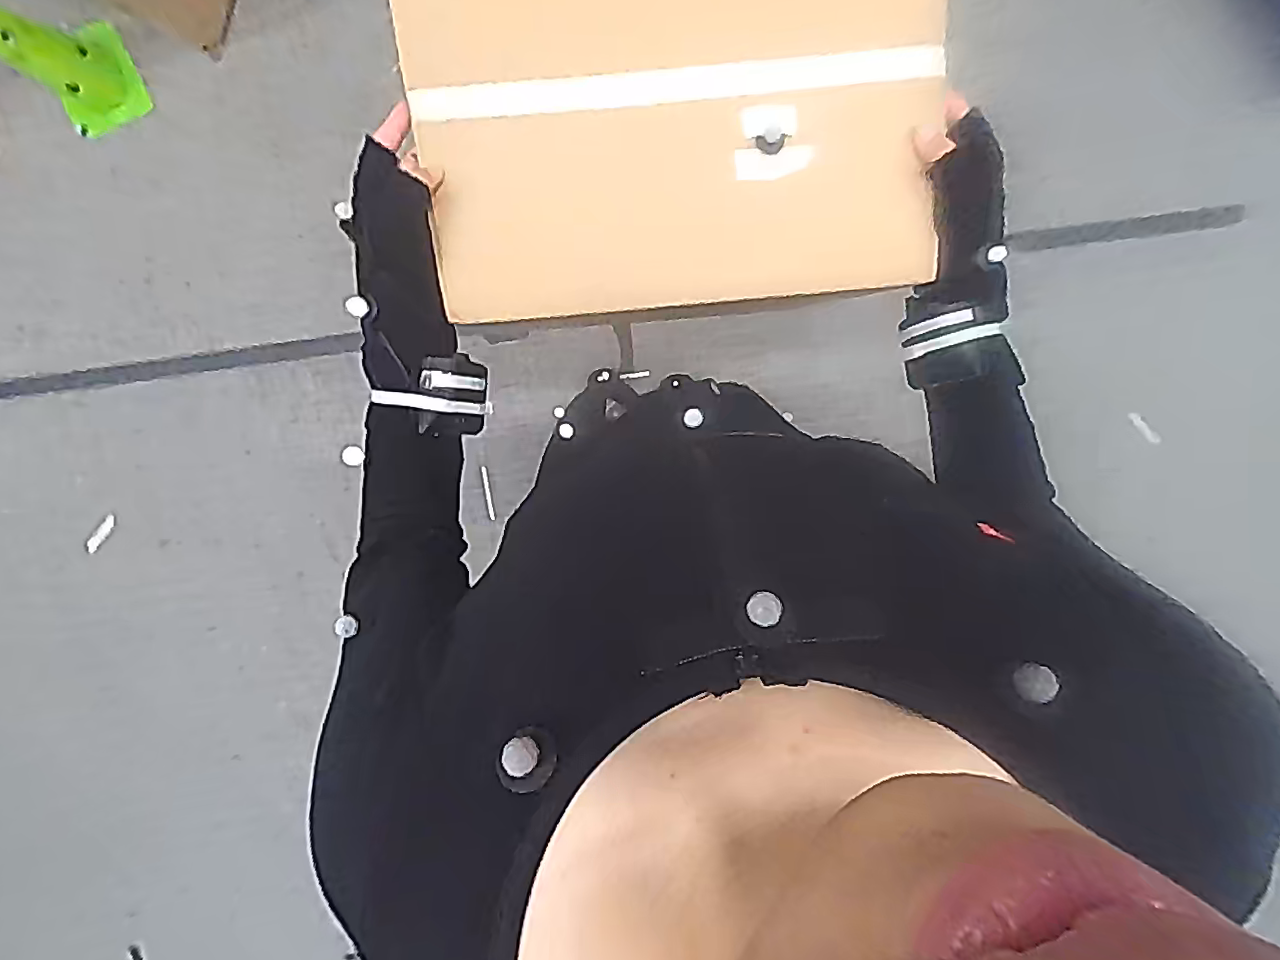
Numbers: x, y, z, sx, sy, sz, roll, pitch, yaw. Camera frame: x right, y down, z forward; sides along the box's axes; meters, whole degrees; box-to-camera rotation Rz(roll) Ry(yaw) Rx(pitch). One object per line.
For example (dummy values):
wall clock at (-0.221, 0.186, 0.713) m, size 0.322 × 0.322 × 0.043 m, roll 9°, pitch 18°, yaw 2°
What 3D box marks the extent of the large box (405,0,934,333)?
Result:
large box at (0.022, -0.337, 0.564) m, size 0.408 × 0.320 × 0.320 m, roll -5°, pitch 104°, yaw -2°
